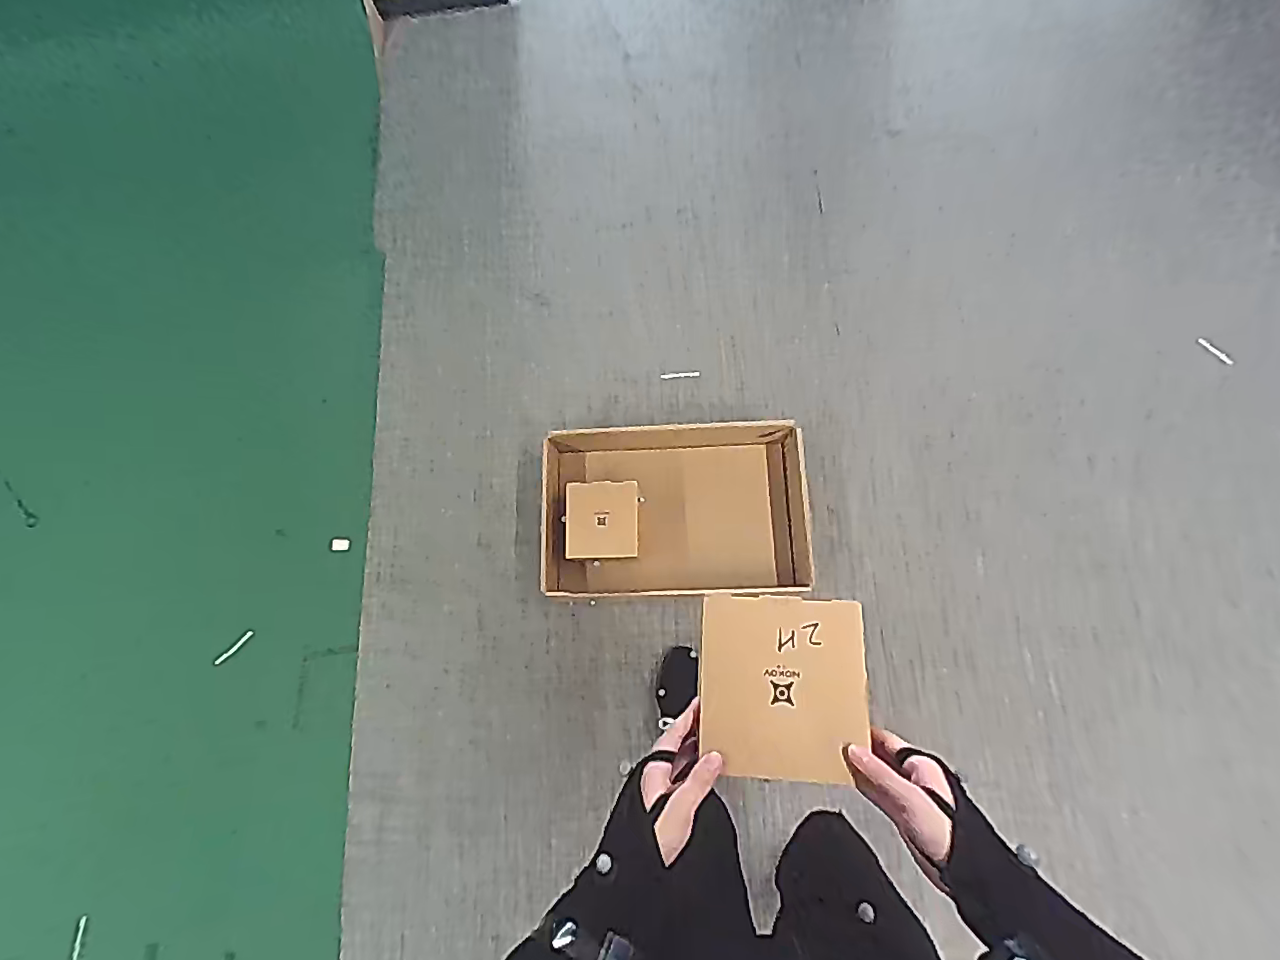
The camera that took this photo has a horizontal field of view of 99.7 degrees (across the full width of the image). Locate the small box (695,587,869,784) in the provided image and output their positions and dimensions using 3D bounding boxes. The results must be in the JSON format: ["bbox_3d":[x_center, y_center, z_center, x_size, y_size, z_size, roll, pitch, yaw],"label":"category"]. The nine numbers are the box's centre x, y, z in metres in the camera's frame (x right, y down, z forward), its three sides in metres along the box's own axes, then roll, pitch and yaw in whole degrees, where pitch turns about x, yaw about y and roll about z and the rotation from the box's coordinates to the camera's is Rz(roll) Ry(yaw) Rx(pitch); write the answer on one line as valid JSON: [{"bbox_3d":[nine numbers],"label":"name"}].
[{"bbox_3d":[0.150,0.225,0.616,0.168,0.176,0.179,3,71,6],"label":"small box"}]

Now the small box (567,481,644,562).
[{"bbox_3d":[-0.077,0.106,1.299,0.168,0.176,0.179,-2,76,3],"label":"small box"}]
